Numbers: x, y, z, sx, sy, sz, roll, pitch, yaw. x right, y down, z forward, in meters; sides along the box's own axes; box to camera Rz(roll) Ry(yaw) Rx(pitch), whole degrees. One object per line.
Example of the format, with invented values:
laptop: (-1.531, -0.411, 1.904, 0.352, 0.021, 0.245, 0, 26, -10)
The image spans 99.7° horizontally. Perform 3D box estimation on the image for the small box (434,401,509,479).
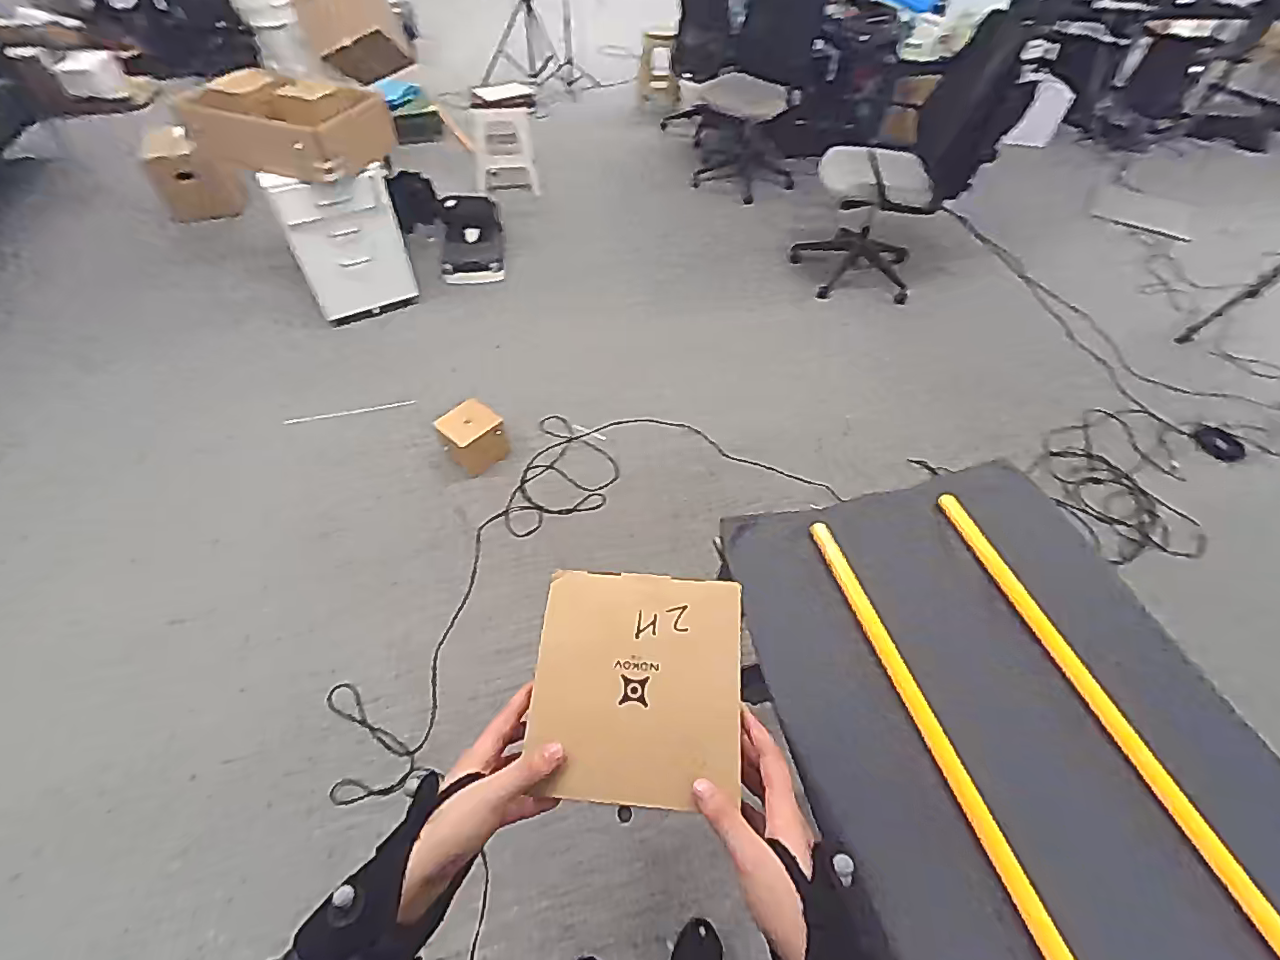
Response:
small box: (-0.581, -0.136, 1.888, 0.168, 0.176, 0.179, 33, 57, 22)
